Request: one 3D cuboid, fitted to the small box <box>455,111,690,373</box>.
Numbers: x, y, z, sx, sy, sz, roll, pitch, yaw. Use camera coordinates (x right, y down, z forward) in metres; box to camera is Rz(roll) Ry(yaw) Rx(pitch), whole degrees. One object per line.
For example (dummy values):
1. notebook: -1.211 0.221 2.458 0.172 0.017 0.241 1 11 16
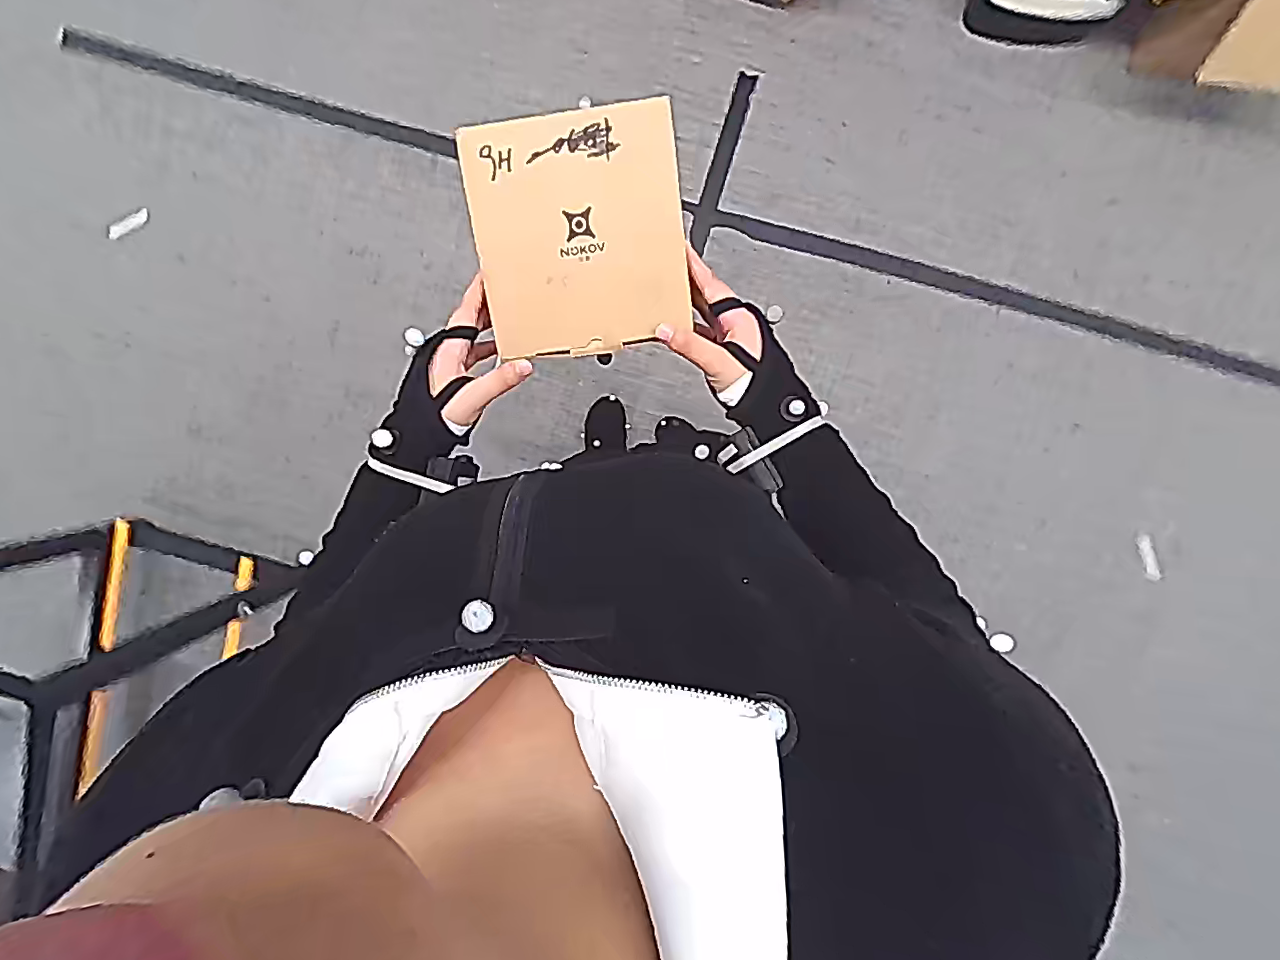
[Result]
1. small box: -0.048 -0.206 0.506 0.168 0.176 0.179 -8 106 2
